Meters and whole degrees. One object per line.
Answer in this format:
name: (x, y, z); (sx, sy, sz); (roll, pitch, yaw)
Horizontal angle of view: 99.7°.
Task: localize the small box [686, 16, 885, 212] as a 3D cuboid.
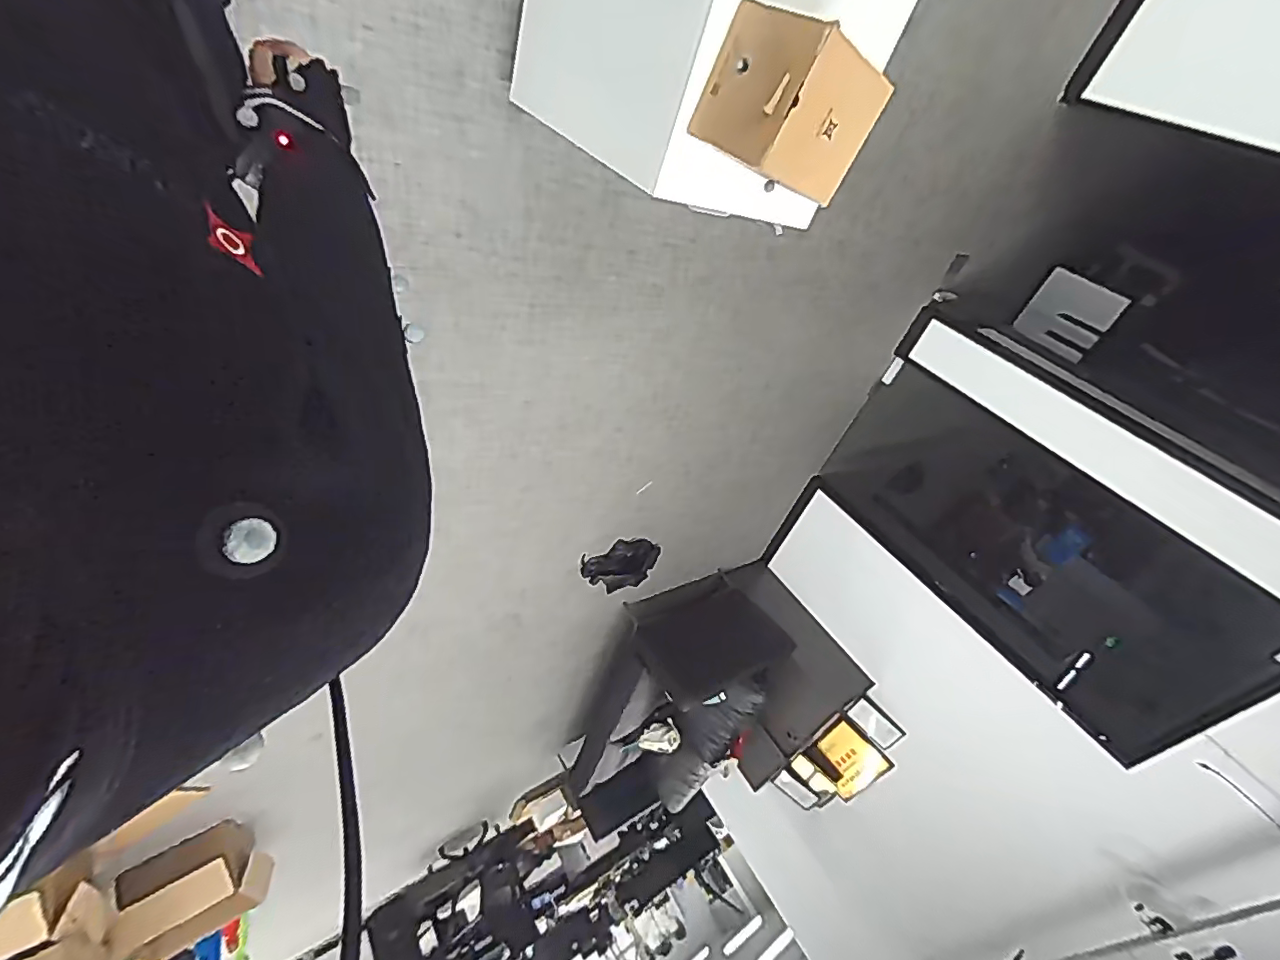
small box: (0.201, -0.518, 0.772); (0.179, 0.176, 0.168); (-4, 134, -42)
